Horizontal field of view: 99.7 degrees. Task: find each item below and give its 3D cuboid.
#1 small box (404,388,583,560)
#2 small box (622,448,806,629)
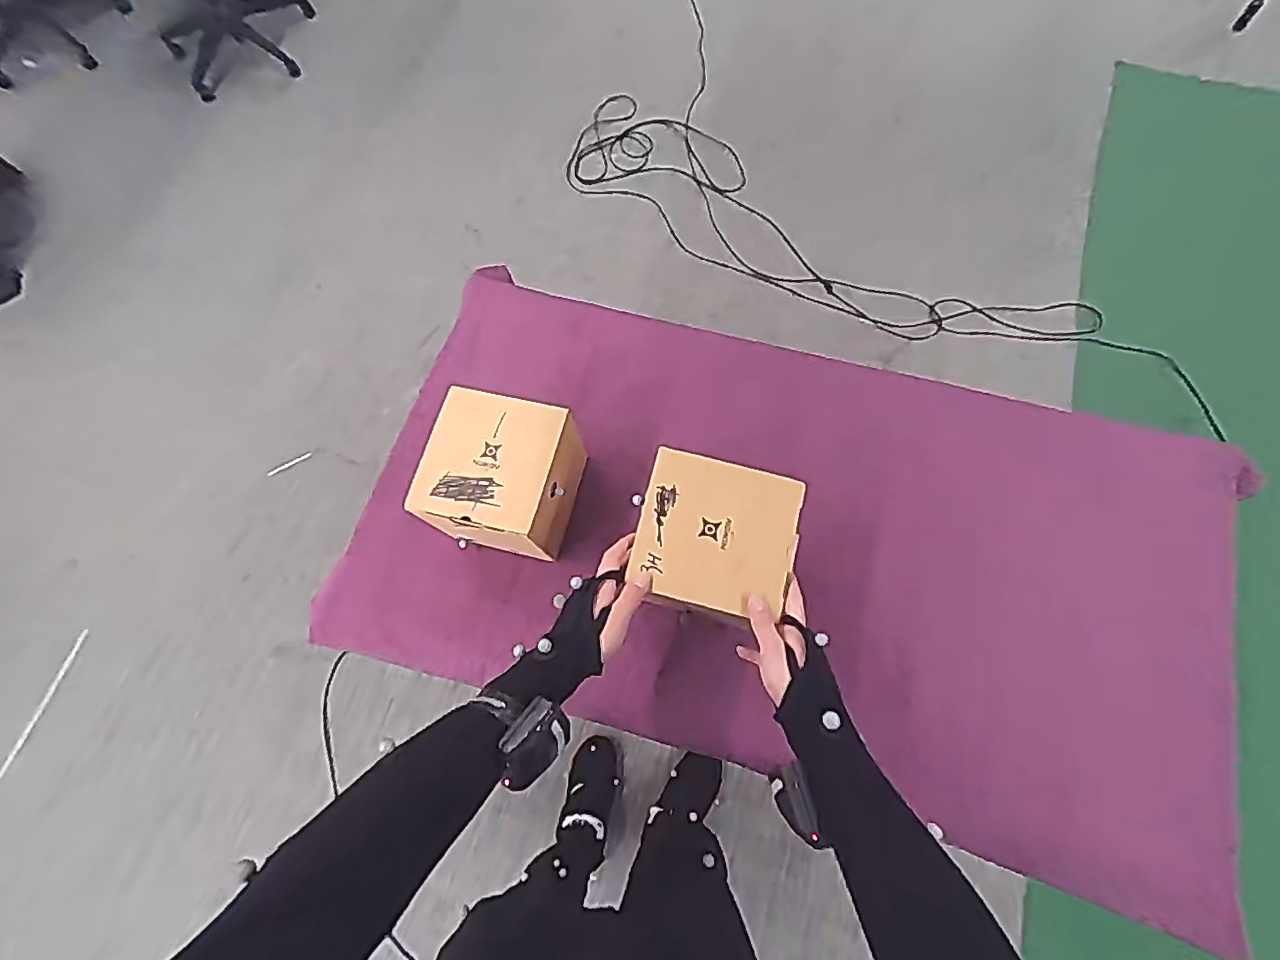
[{"bbox_3d":[-0.187,0.000,0.754,0.168,0.176,0.179,13,71,7],"label":"small box"},{"bbox_3d":[0.083,0.081,0.676,0.179,0.176,0.168,15,74,3],"label":"small box"}]
